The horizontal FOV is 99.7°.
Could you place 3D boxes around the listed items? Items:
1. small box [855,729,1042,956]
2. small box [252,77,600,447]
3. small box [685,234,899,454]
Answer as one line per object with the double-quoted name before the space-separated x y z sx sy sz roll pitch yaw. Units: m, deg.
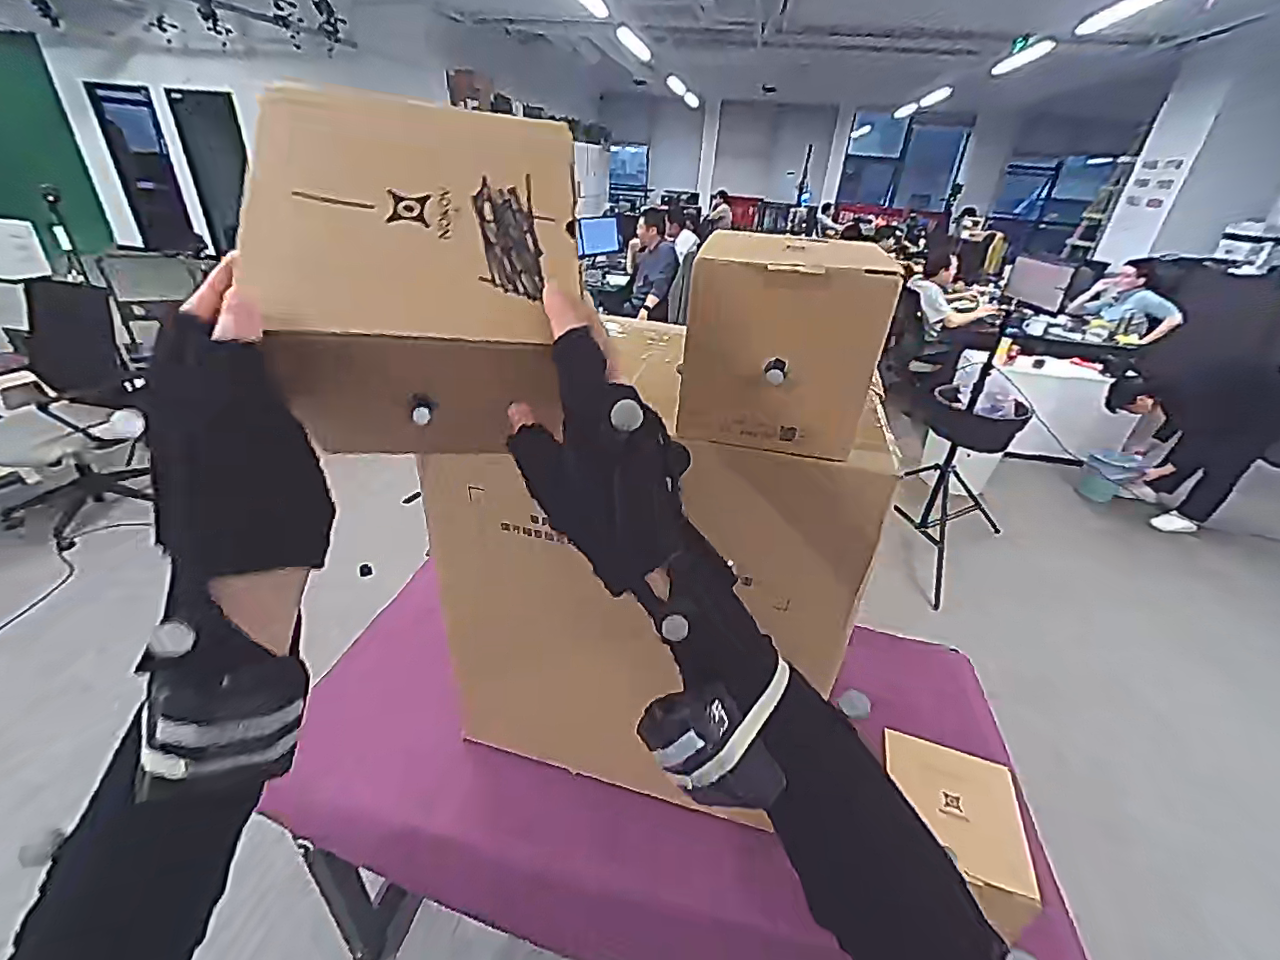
"small box" 0.399 0.488 0.735 0.168 0.176 0.179 13 30 15
"small box" -0.132 -0.129 0.383 0.179 0.176 0.168 0 71 -15
"small box" 0.140 -0.142 0.545 0.168 0.176 0.179 9 32 9
